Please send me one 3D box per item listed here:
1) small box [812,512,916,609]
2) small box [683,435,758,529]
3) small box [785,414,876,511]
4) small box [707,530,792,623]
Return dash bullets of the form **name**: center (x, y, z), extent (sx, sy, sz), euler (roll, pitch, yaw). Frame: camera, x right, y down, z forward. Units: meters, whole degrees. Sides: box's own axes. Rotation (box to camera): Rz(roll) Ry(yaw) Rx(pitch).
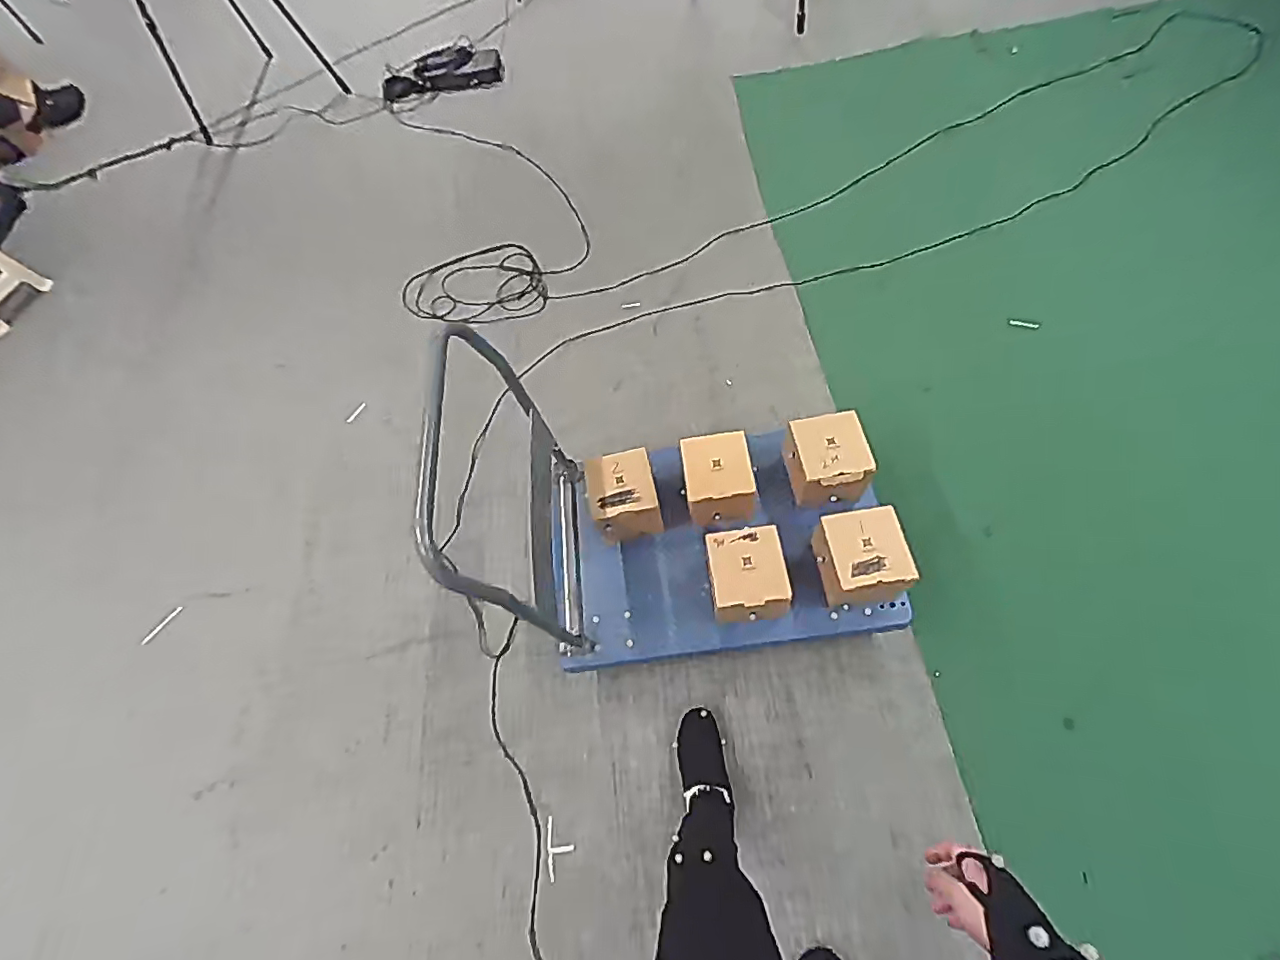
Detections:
- **small box**: center (0.520, 0.198, 1.280), extent (0.168, 0.176, 0.179), euler (-9, 62, 3)
- **small box**: center (0.203, 0.008, 1.407), extent (0.168, 0.176, 0.179), euler (-9, 64, 3)
- **small box**: center (0.478, -0.041, 1.389), extent (0.168, 0.176, 0.179), euler (-10, 62, 4)
- **small box**: center (0.253, 0.236, 1.281), extent (0.168, 0.176, 0.179), euler (-8, 63, 4)
